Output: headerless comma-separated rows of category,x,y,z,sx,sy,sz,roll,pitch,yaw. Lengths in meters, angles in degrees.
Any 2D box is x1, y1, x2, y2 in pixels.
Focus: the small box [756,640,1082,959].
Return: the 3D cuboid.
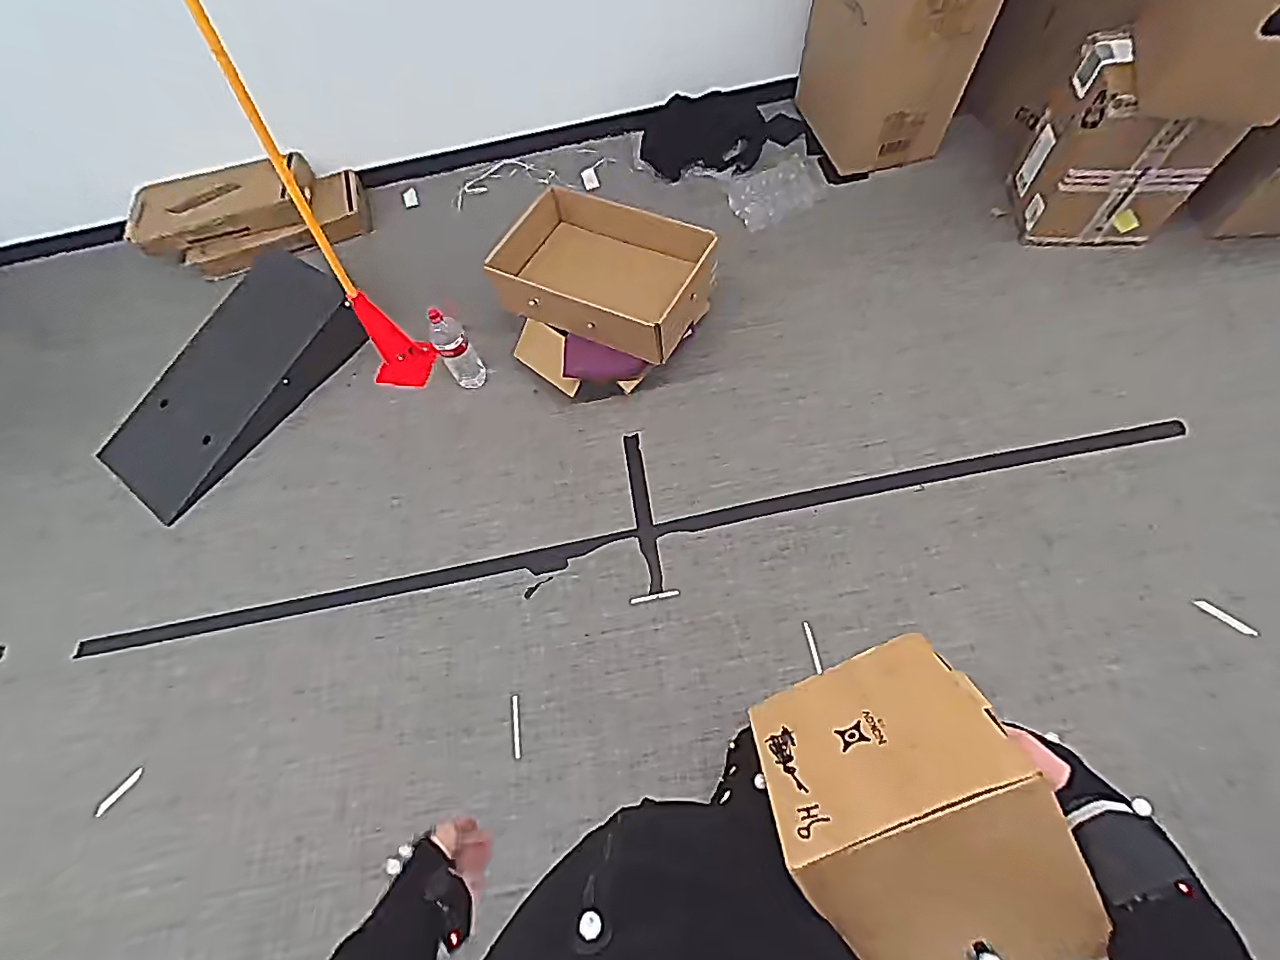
small box,0.225,0.277,0.459,0.179,0.168,0.176,-28,102,9
